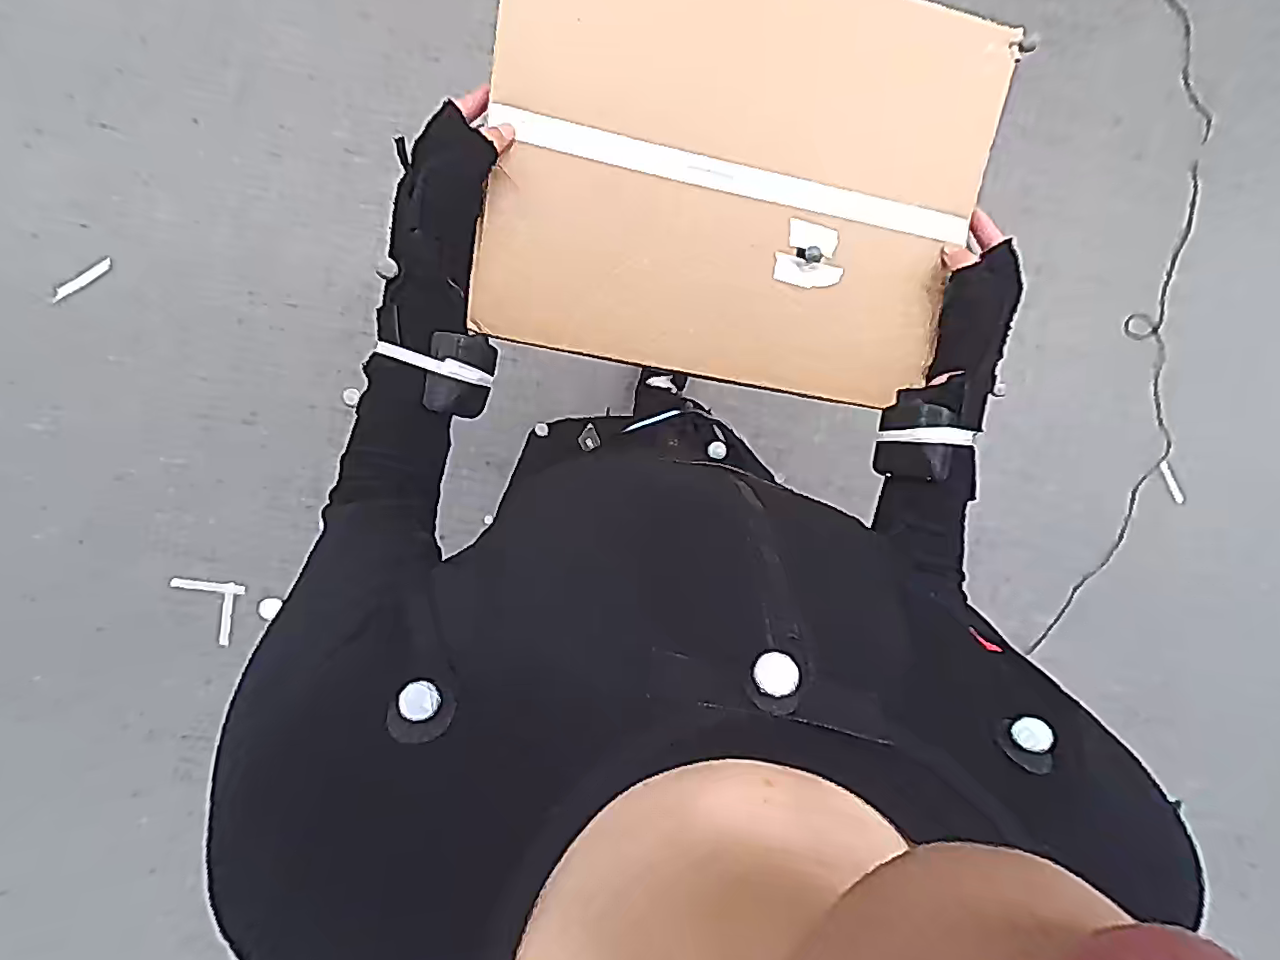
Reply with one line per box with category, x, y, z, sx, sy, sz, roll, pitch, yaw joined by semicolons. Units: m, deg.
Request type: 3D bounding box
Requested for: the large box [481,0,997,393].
large box;0.061;-0.287;0.593;0.408;0.320;0.320;8;103;-10
